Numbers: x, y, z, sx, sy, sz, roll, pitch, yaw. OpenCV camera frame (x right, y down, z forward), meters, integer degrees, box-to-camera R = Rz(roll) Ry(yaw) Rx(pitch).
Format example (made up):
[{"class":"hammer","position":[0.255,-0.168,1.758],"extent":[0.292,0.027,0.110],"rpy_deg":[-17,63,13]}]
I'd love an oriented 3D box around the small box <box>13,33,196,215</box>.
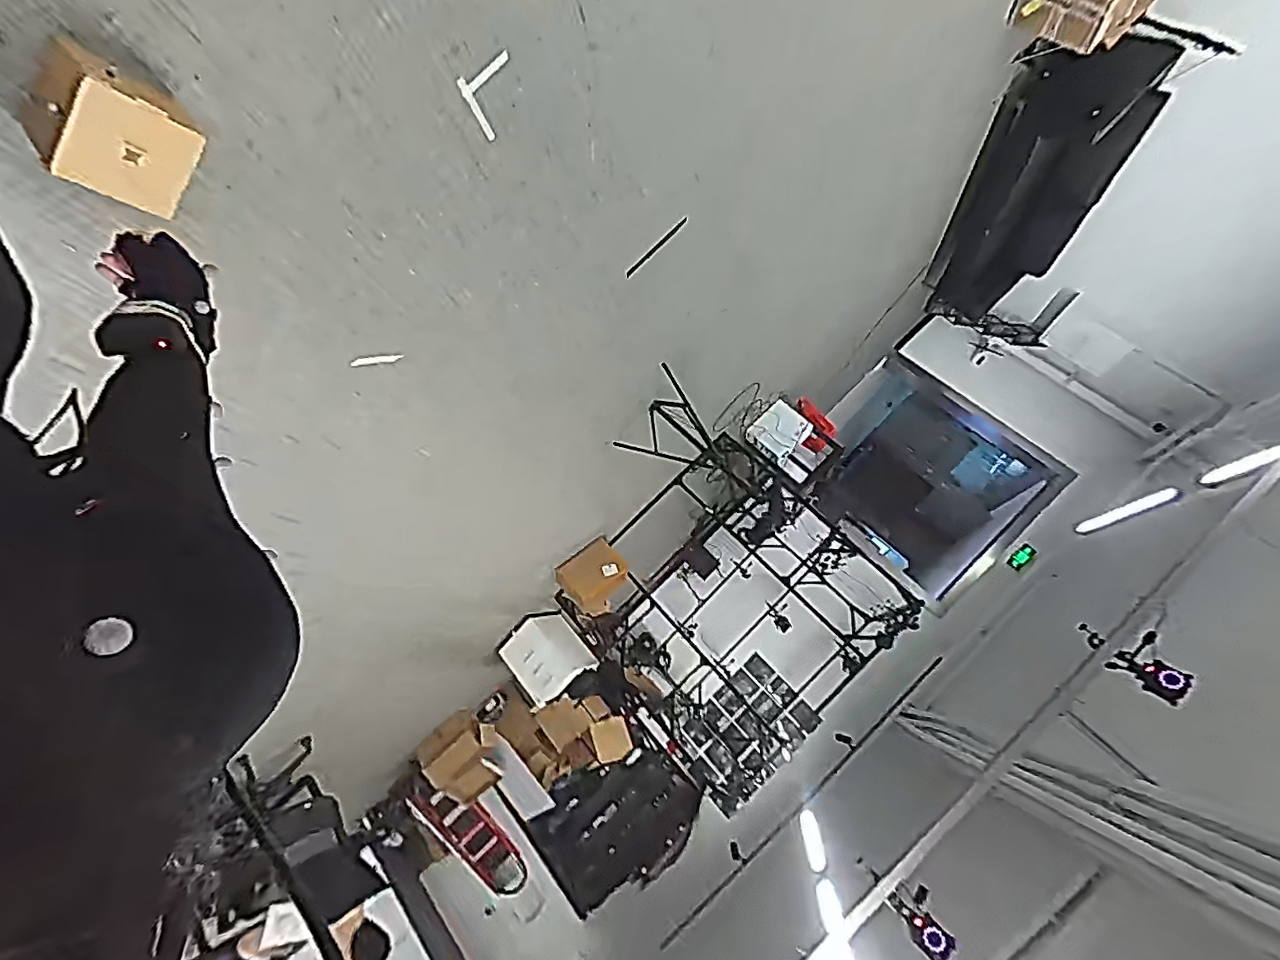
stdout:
[{"class":"small box","position":[-0.927,-0.611,0.936],"extent":[0.179,0.176,0.168],"rpy_deg":[-50,158,14]}]
